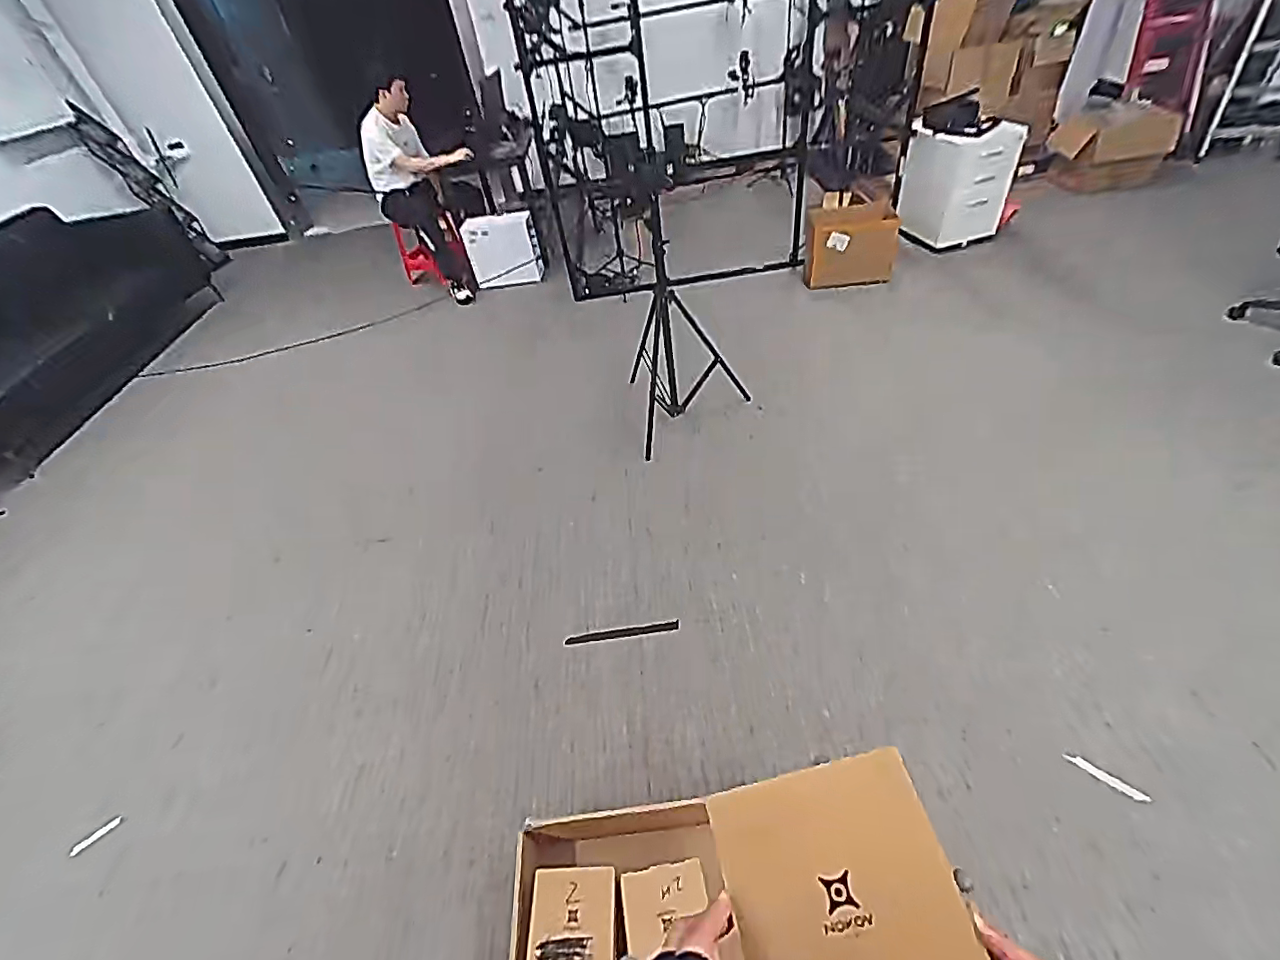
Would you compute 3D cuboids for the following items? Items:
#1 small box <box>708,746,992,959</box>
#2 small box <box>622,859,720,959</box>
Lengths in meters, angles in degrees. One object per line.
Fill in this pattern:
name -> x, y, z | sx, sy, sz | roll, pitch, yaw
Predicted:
small box -> 0.169, 0.349, 0.457 | 0.168, 0.176, 0.179 | -19, 54, 7
small box -> 0.064, 0.892, 1.079 | 0.168, 0.176, 0.179 | -11, 43, -1
